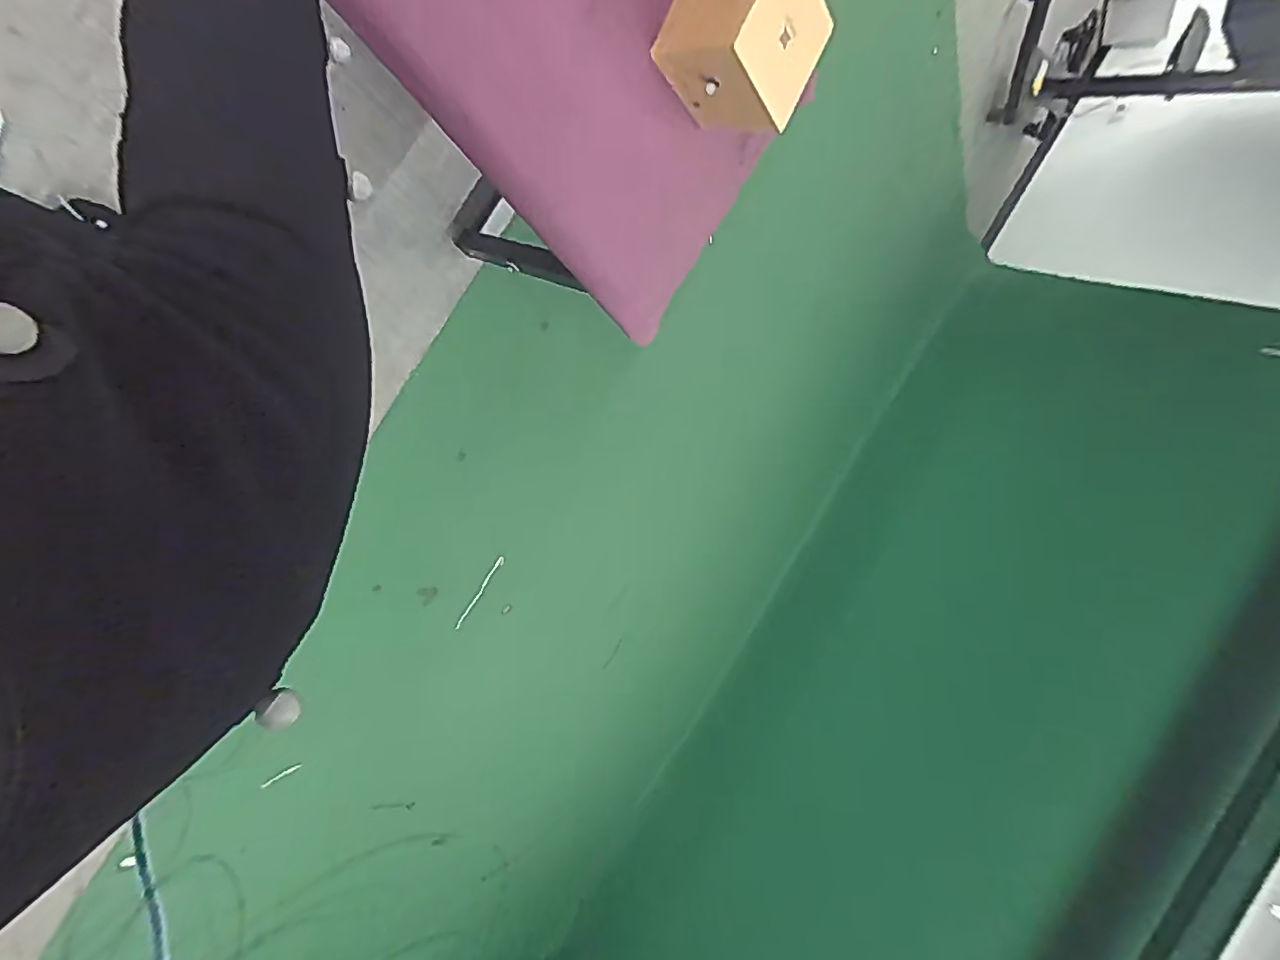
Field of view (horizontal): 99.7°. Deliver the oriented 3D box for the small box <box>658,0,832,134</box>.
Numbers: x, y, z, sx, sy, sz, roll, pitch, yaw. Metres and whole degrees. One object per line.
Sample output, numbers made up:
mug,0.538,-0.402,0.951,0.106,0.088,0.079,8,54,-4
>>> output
small box,0.152,-0.661,0.817,0.168,0.176,0.179,20,99,-51
